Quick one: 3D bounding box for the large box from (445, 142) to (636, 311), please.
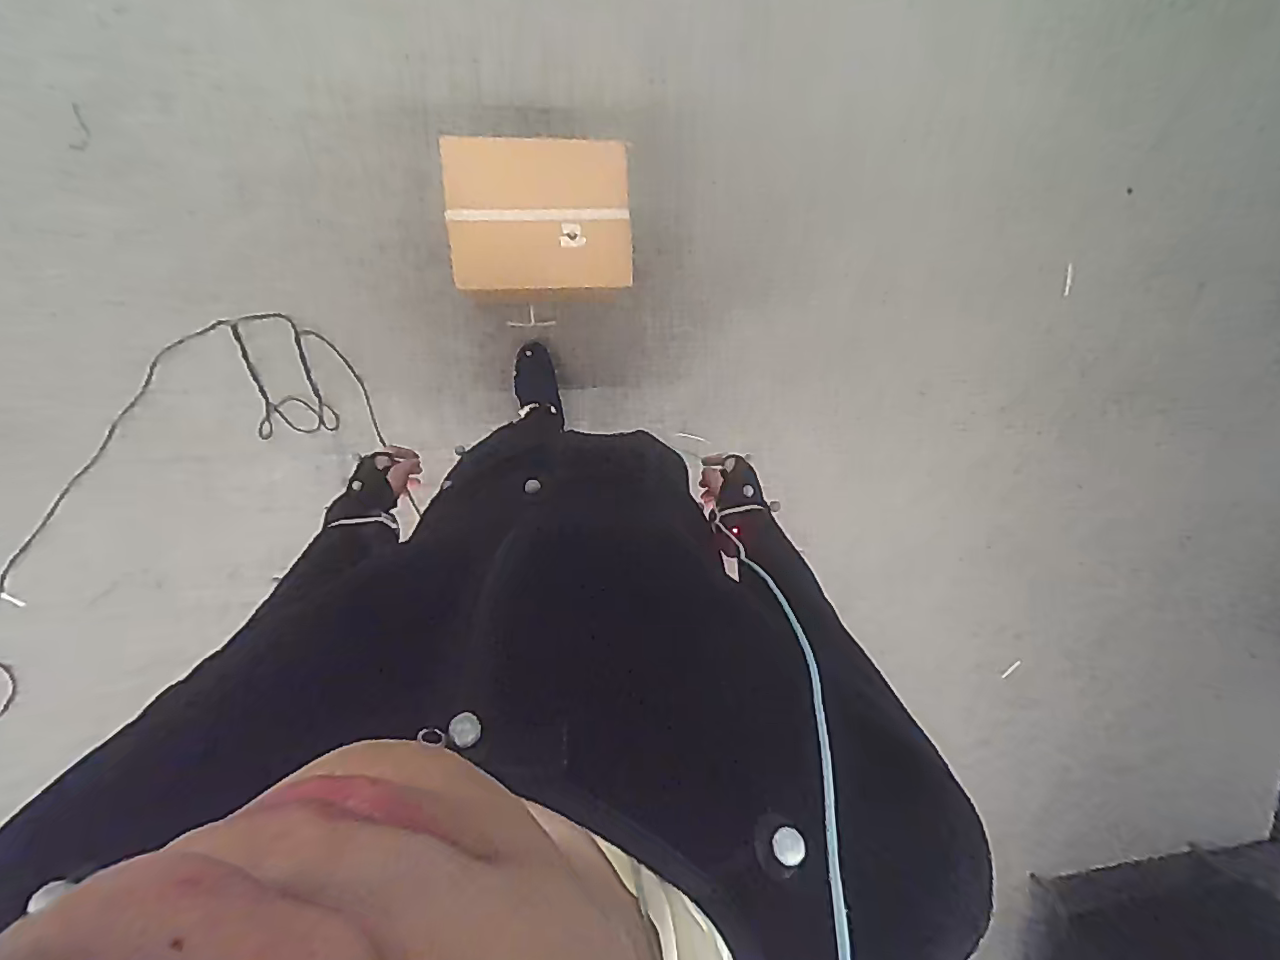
[{"bbox_3d":[-0.241,-0.616,1.360,0.408,0.320,0.320,-5,101,-10],"label":"large box"}]
